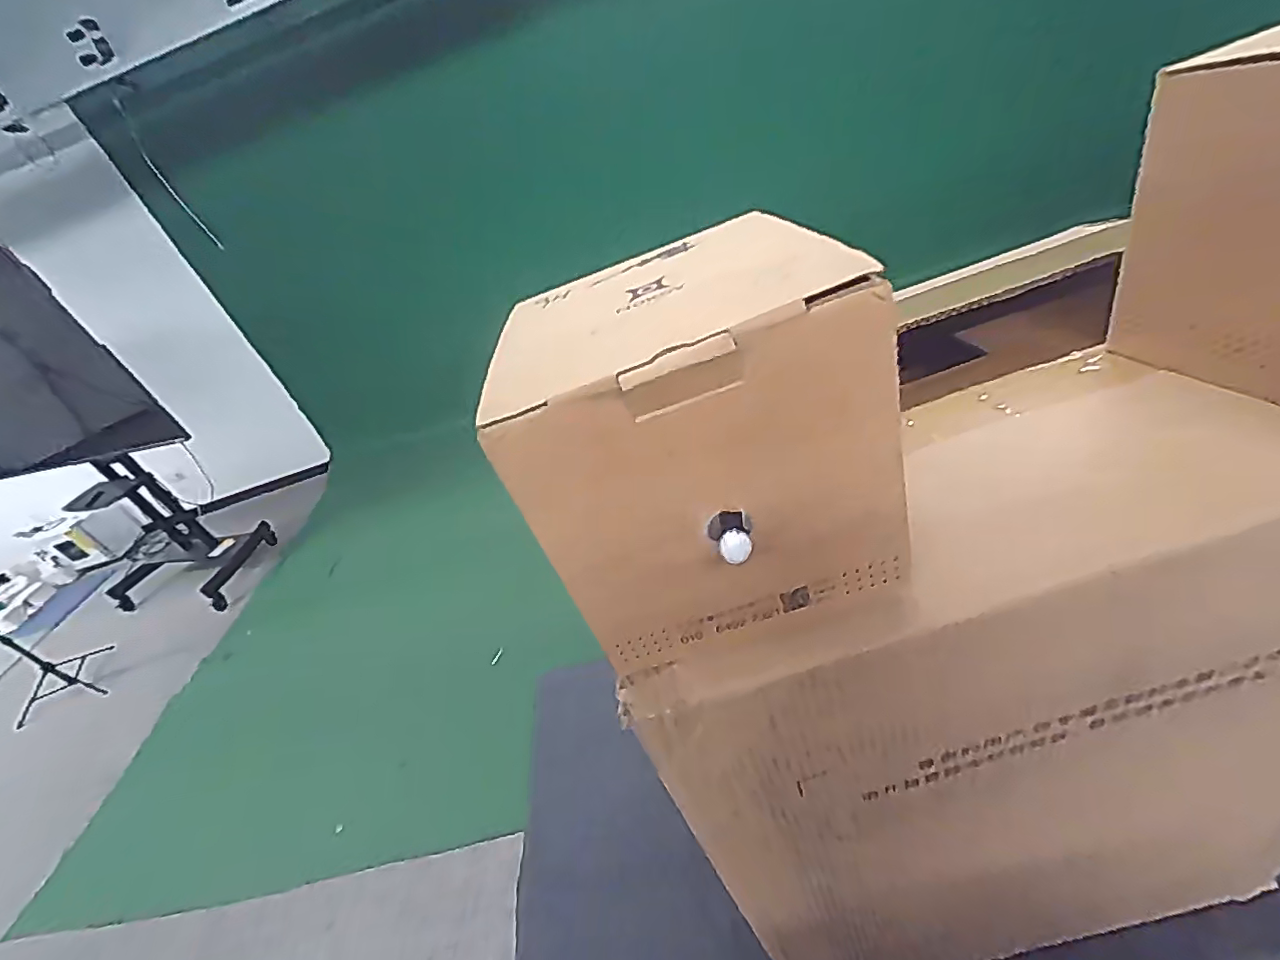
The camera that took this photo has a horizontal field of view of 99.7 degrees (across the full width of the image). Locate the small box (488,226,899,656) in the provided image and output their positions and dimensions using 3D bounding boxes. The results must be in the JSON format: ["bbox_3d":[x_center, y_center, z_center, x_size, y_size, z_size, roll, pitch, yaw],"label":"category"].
[{"bbox_3d":[0.033,-0.021,0.319,0.168,0.176,0.179,-19,33,5],"label":"small box"}]

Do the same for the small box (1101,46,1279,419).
[{"bbox_3d":[0.398,-0.136,0.279,0.168,0.176,0.179,-21,32,-4],"label":"small box"}]
